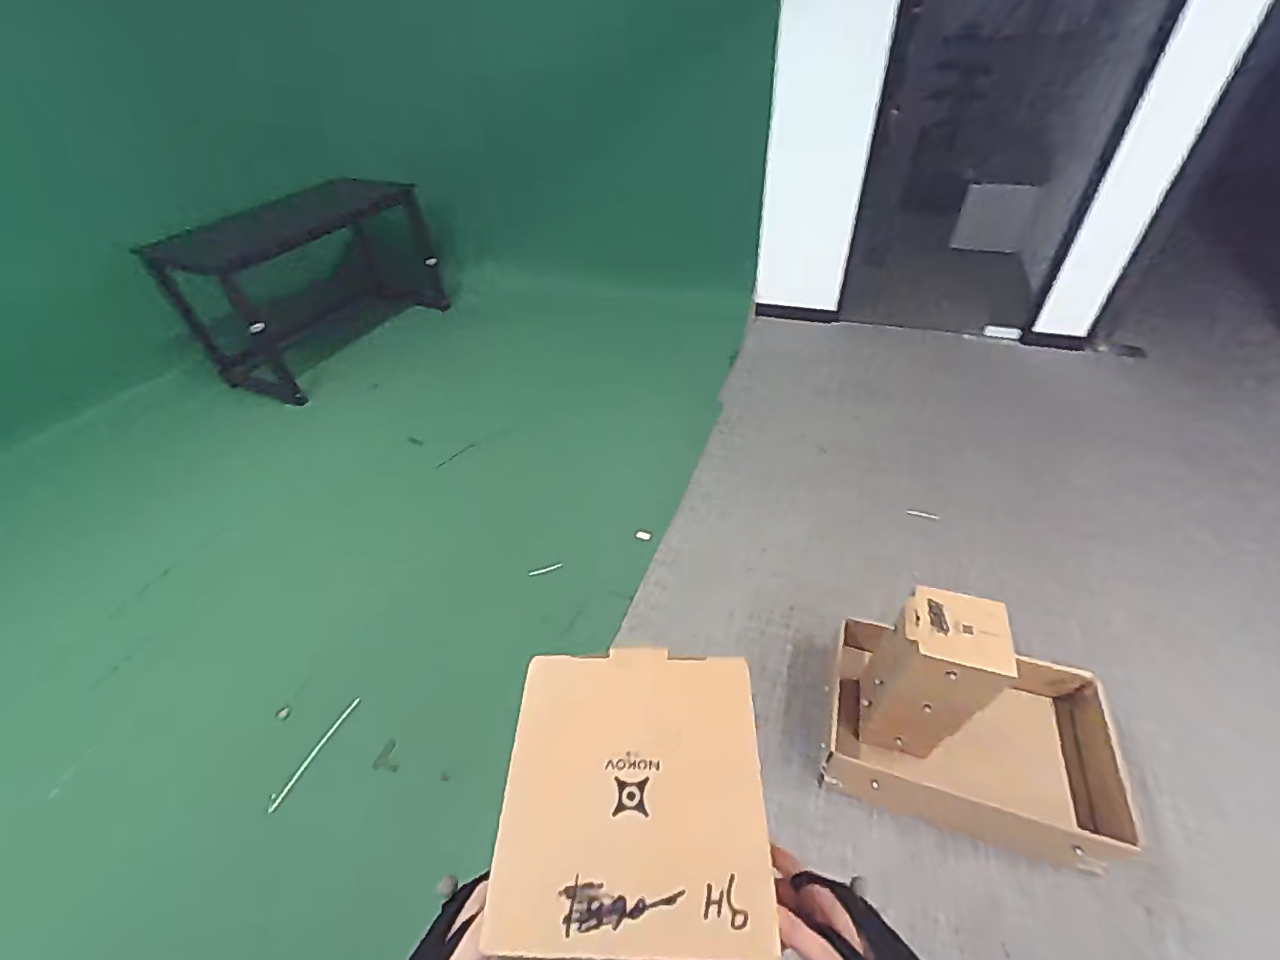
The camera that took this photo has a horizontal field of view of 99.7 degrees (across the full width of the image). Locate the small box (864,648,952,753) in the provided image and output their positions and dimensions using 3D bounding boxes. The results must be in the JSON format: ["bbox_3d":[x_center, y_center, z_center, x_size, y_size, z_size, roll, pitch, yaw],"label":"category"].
[{"bbox_3d":[0.672,0.560,1.366,0.168,0.176,0.179,9,45,14],"label":"small box"}]

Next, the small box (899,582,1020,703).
[{"bbox_3d":[0.649,0.340,1.126,0.179,0.176,0.168,10,48,14],"label":"small box"}]

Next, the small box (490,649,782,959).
[{"bbox_3d":[0.005,0.249,0.410,0.168,0.176,0.179,-2,44,5],"label":"small box"}]

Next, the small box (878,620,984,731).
[{"bbox_3d":[0.657,0.453,1.244,0.179,0.176,0.168,10,47,14],"label":"small box"}]
